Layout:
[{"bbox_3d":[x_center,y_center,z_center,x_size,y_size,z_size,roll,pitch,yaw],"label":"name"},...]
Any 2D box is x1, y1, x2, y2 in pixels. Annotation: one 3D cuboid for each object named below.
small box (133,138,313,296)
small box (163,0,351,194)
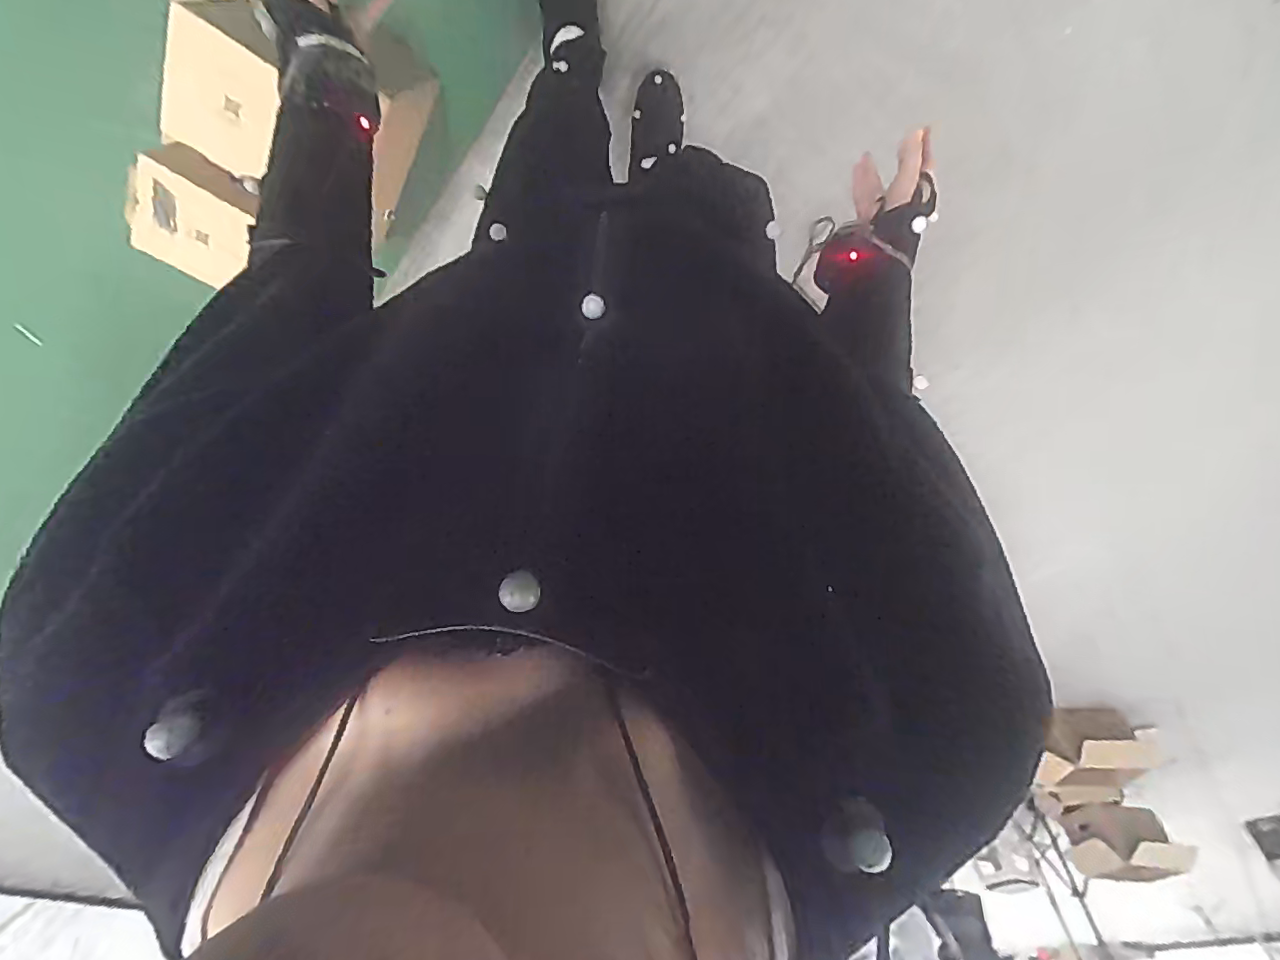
[{"bbox_3d":[-0.710,-0.459,0.932,0.179,0.176,0.168,29,126,-23],"label":"small box"},{"bbox_3d":[-0.569,-0.582,0.819,0.168,0.176,0.179,28,126,-23],"label":"small box"}]
